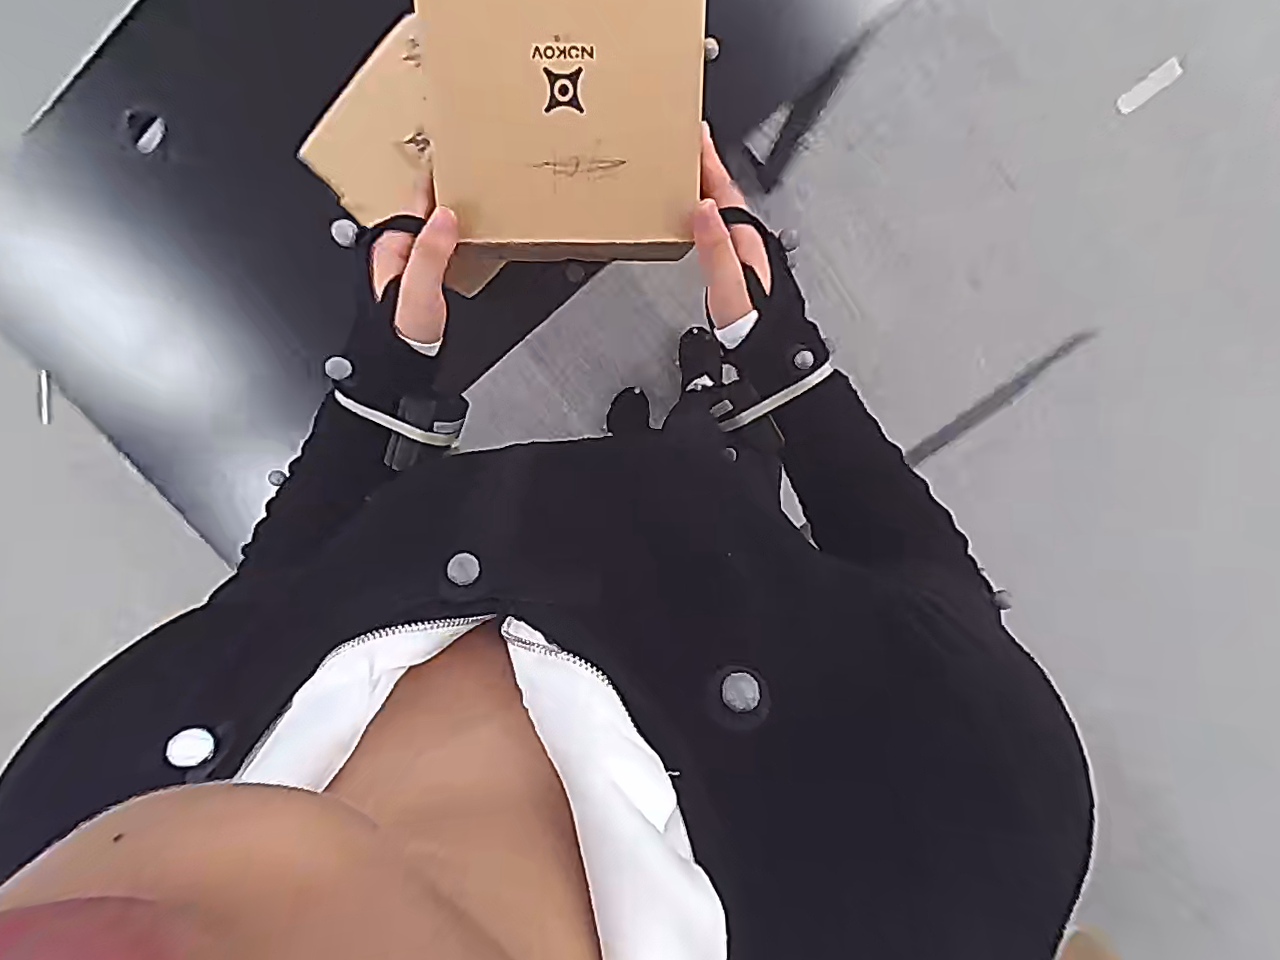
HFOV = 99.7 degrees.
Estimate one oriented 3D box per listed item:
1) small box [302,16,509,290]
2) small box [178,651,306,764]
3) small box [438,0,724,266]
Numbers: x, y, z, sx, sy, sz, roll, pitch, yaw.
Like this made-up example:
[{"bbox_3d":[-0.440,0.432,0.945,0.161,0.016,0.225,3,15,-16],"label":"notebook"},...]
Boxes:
[{"bbox_3d":[-0.221,-0.343,0.615,0.179,0.176,0.168,-43,96,10],"label":"small box"},{"bbox_3d":[-1.004,0.575,1.389,0.179,0.176,0.168,-33,96,8],"label":"small box"},{"bbox_3d":[-0.035,-0.258,0.395,0.168,0.176,0.179,2,109,0],"label":"small box"}]
